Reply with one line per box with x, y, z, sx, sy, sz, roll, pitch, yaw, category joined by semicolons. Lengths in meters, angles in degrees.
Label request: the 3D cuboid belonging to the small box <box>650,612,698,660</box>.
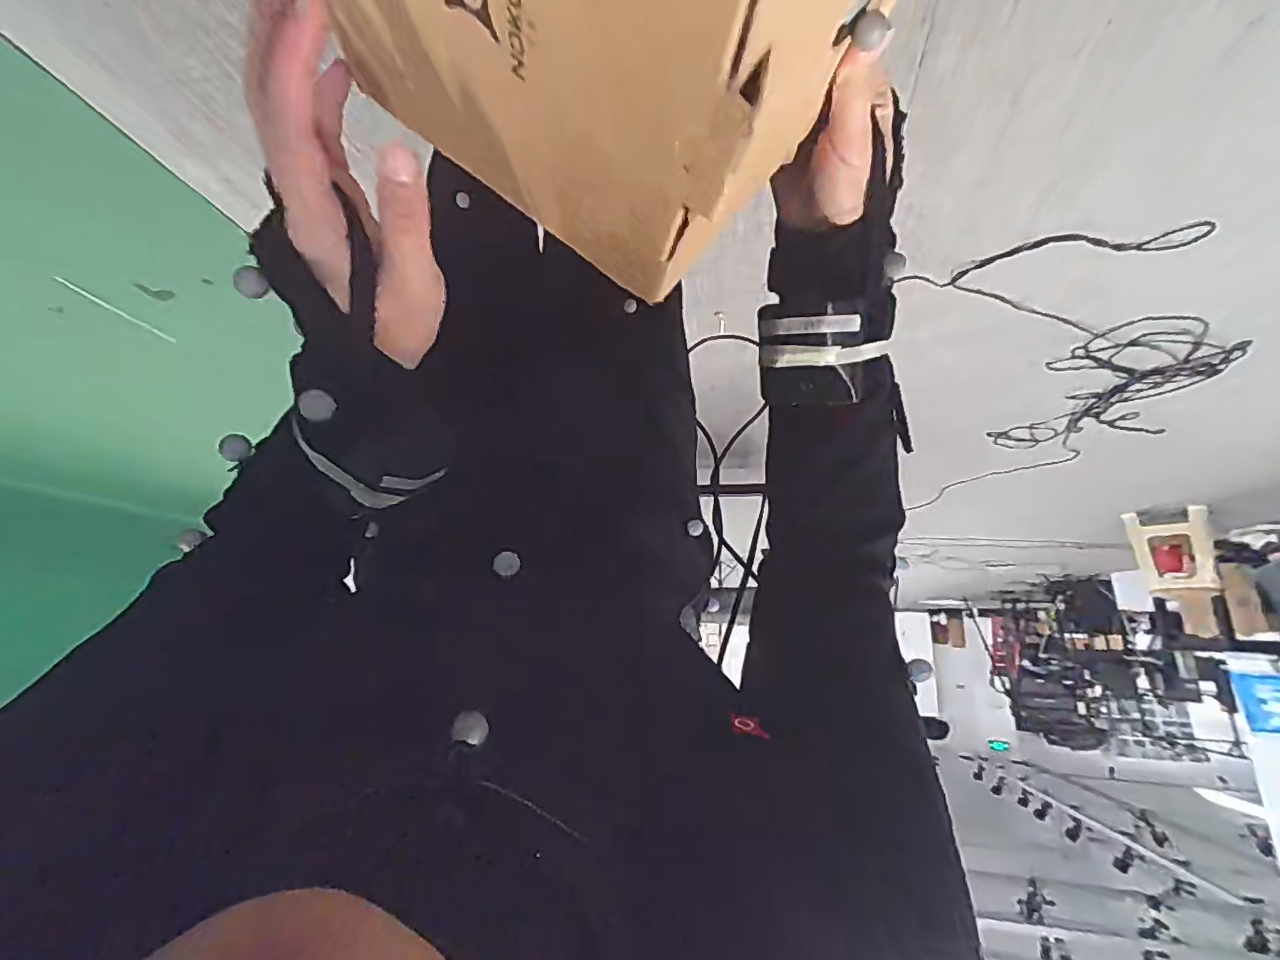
0.137;0.611;2.107;0.168;0.176;0.179;-2;162;12;small box

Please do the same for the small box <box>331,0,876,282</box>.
-0.003;-0.220;0.194;0.179;0.176;0.168;37;163;2;small box
